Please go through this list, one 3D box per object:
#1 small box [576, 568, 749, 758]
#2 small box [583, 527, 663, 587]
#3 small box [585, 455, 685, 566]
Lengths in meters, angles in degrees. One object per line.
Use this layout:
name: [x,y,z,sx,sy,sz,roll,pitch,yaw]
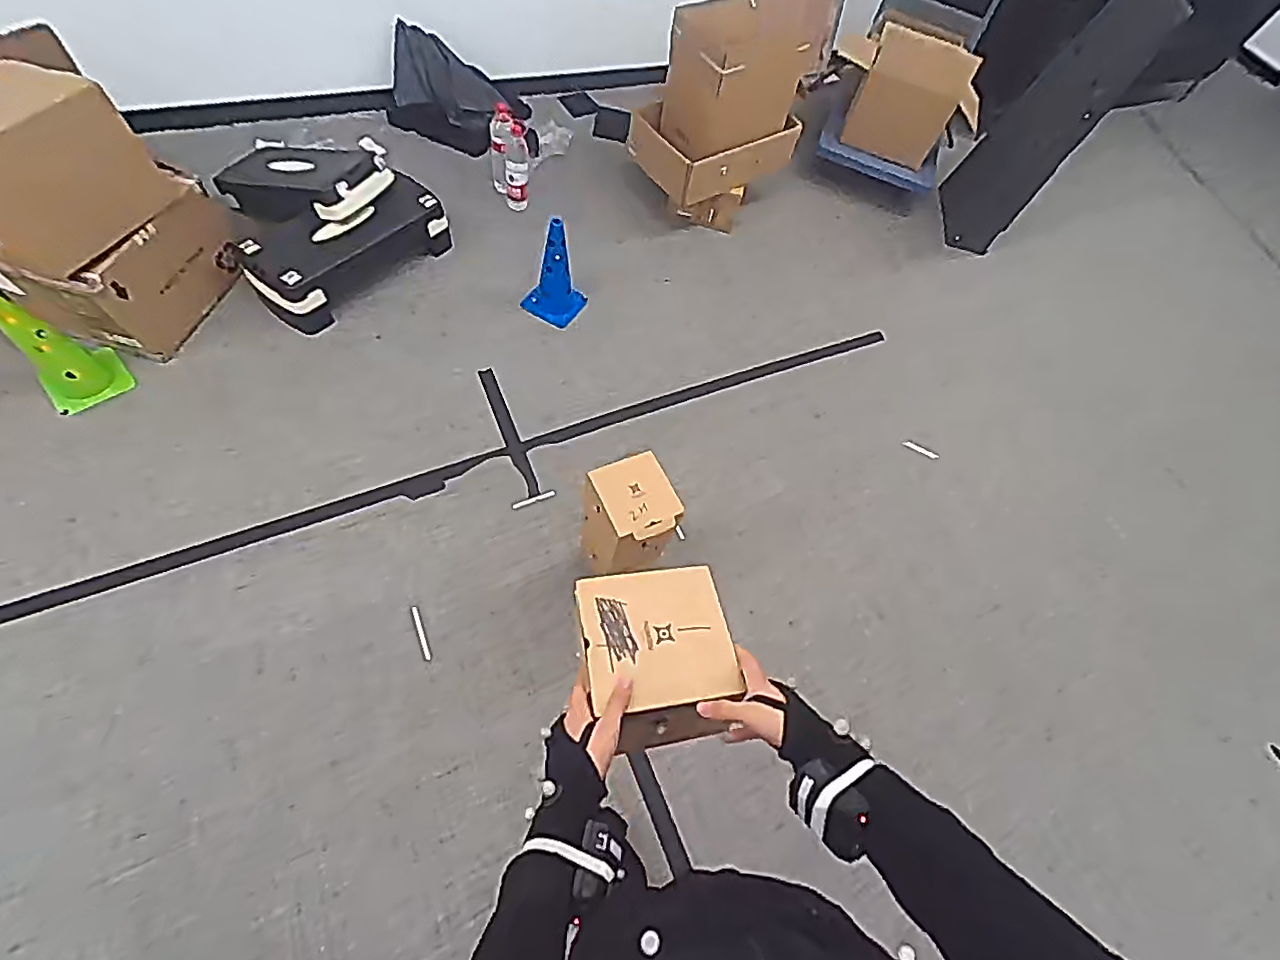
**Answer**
small box: [0.021,0.238,0.693,0.179,0.176,0.168,-9,52,-9]
small box: [-0.053,0.216,1.562,0.168,0.176,0.179,-24,68,-20]
small box: [-0.021,0.074,1.264,0.168,0.176,0.179,-20,67,-20]
